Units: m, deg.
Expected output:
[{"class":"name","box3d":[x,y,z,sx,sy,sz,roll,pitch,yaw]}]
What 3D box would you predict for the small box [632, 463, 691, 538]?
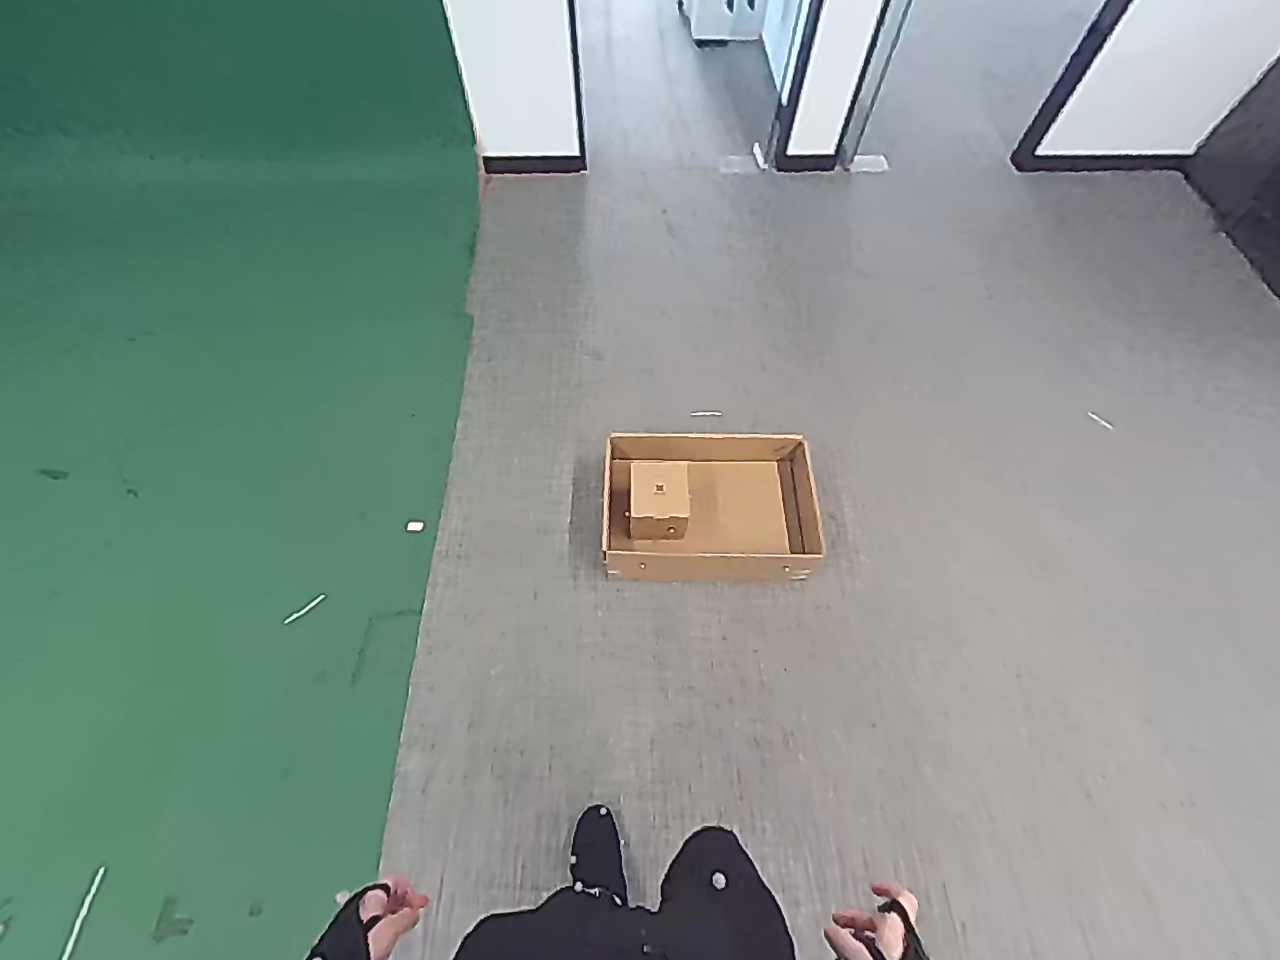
[{"class":"small box","box3d":[0.060,0.065,1.602,0.168,0.176,0.179,0,61,-2]}]
